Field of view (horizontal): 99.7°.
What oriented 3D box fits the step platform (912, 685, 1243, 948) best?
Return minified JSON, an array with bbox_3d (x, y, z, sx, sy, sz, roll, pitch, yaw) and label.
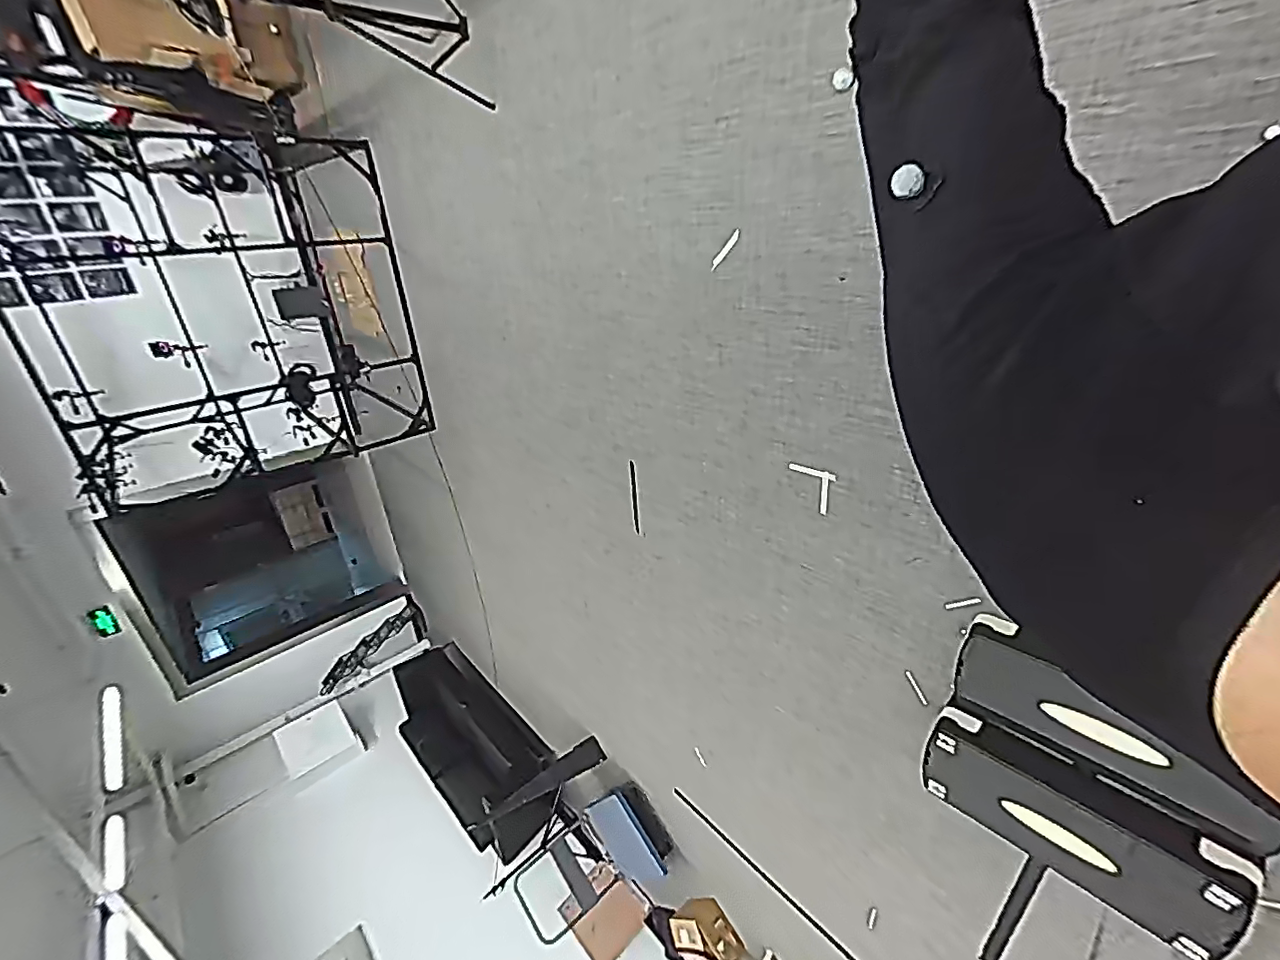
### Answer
[{"bbox_3d":[1.124,0.875,1.478,0.684,0.204,0.286,22,125,45],"label":"step platform"}]
